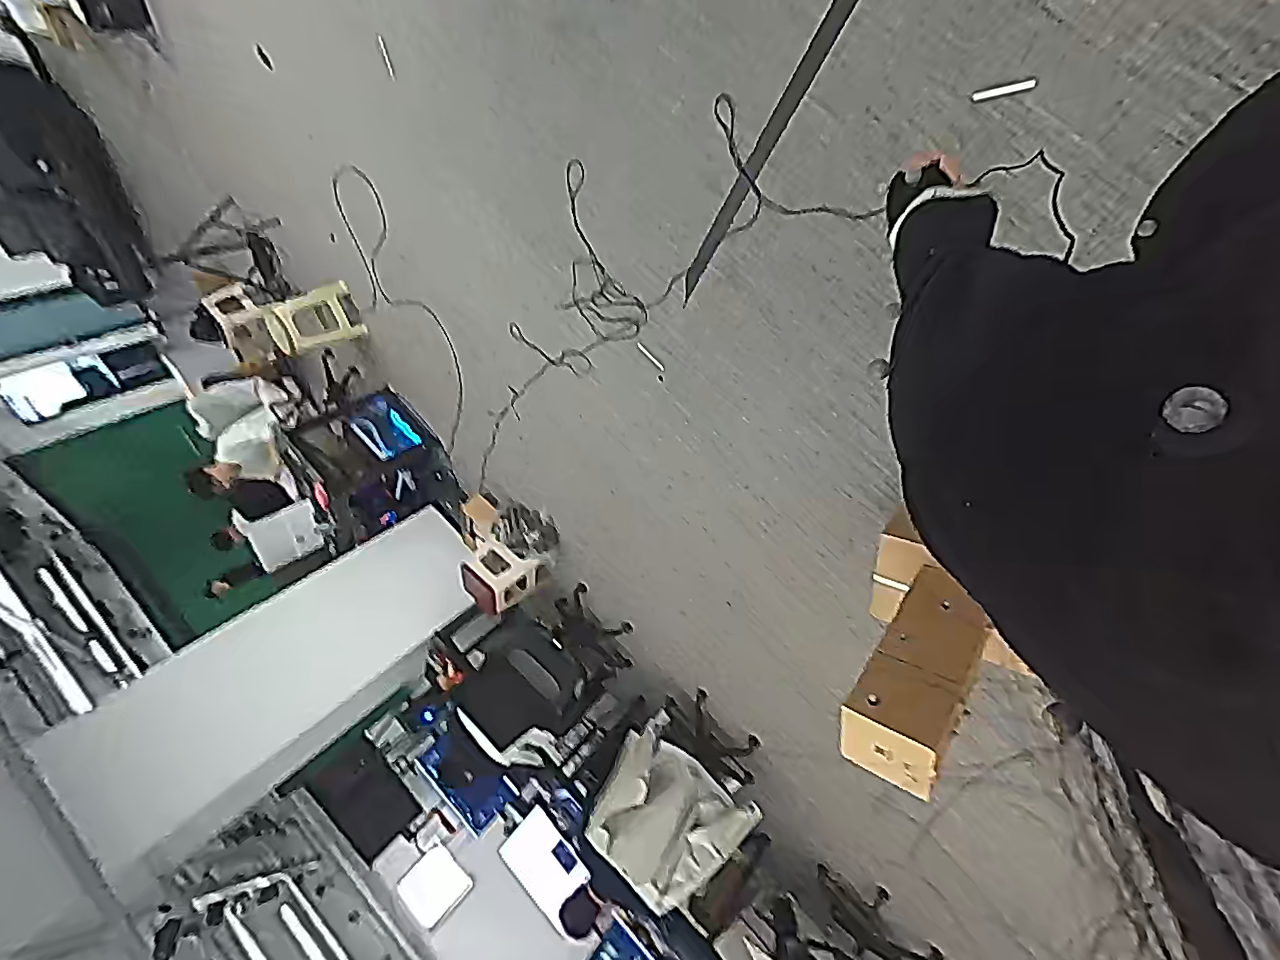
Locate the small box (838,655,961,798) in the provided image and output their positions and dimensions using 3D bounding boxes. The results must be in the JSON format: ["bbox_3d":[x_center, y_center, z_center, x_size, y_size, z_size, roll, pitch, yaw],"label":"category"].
[{"bbox_3d":[0.528,0.490,1.107,0.179,0.176,0.168,17,131,39],"label":"small box"}]

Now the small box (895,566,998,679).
[{"bbox_3d":[0.740,0.334,1.305,0.179,0.176,0.168,17,130,40],"label":"small box"}]
